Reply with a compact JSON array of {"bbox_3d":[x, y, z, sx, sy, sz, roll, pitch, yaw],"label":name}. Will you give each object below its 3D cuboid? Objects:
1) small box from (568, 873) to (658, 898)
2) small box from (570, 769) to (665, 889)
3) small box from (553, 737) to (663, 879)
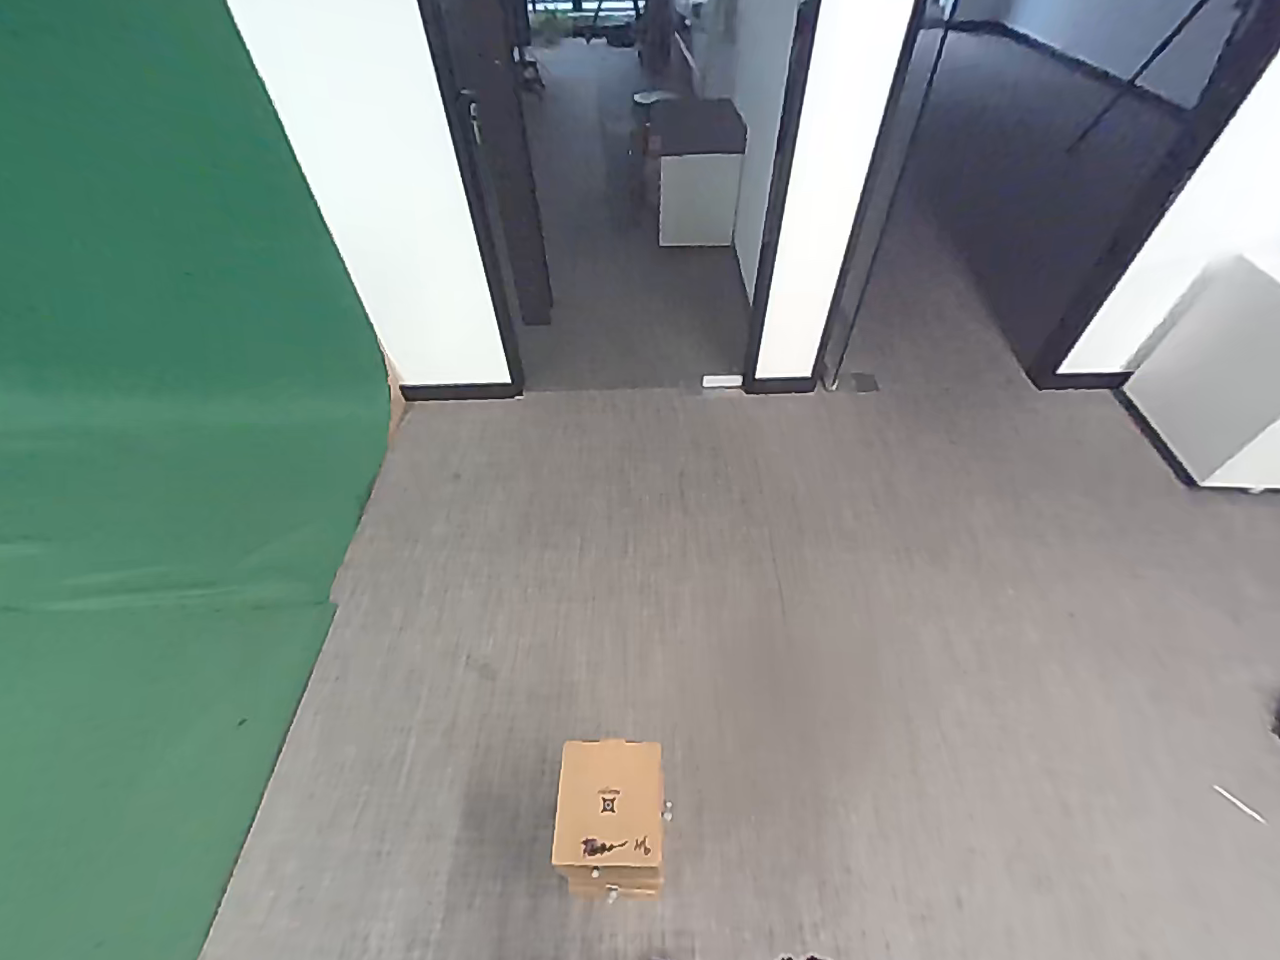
[{"bbox_3d":[-0.048,0.781,1.154,0.179,0.176,0.168,0,48,3],"label":"small box"},{"bbox_3d":[-0.036,0.669,1.039,0.168,0.176,0.179,-1,49,2],"label":"small box"},{"bbox_3d":[-0.045,0.557,0.919,0.168,0.176,0.179,0,48,2],"label":"small box"}]
